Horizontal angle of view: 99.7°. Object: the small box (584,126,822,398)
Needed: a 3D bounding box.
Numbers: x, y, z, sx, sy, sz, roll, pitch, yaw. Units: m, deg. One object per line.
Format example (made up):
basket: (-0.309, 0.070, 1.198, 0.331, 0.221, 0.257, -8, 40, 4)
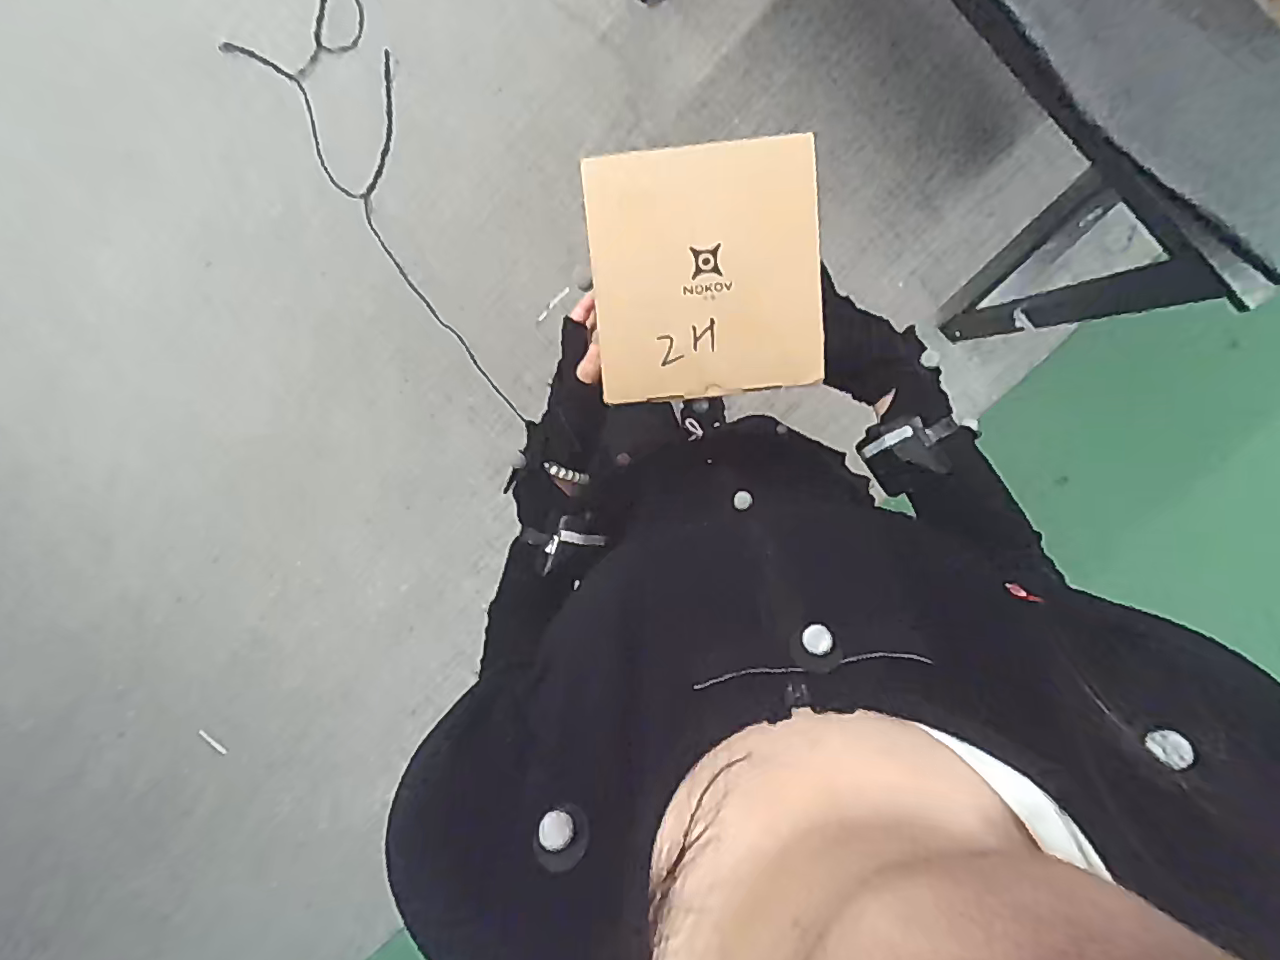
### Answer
small box: (0.048, -0.166, 0.468, 0.168, 0.176, 0.179, -5, 99, 3)
